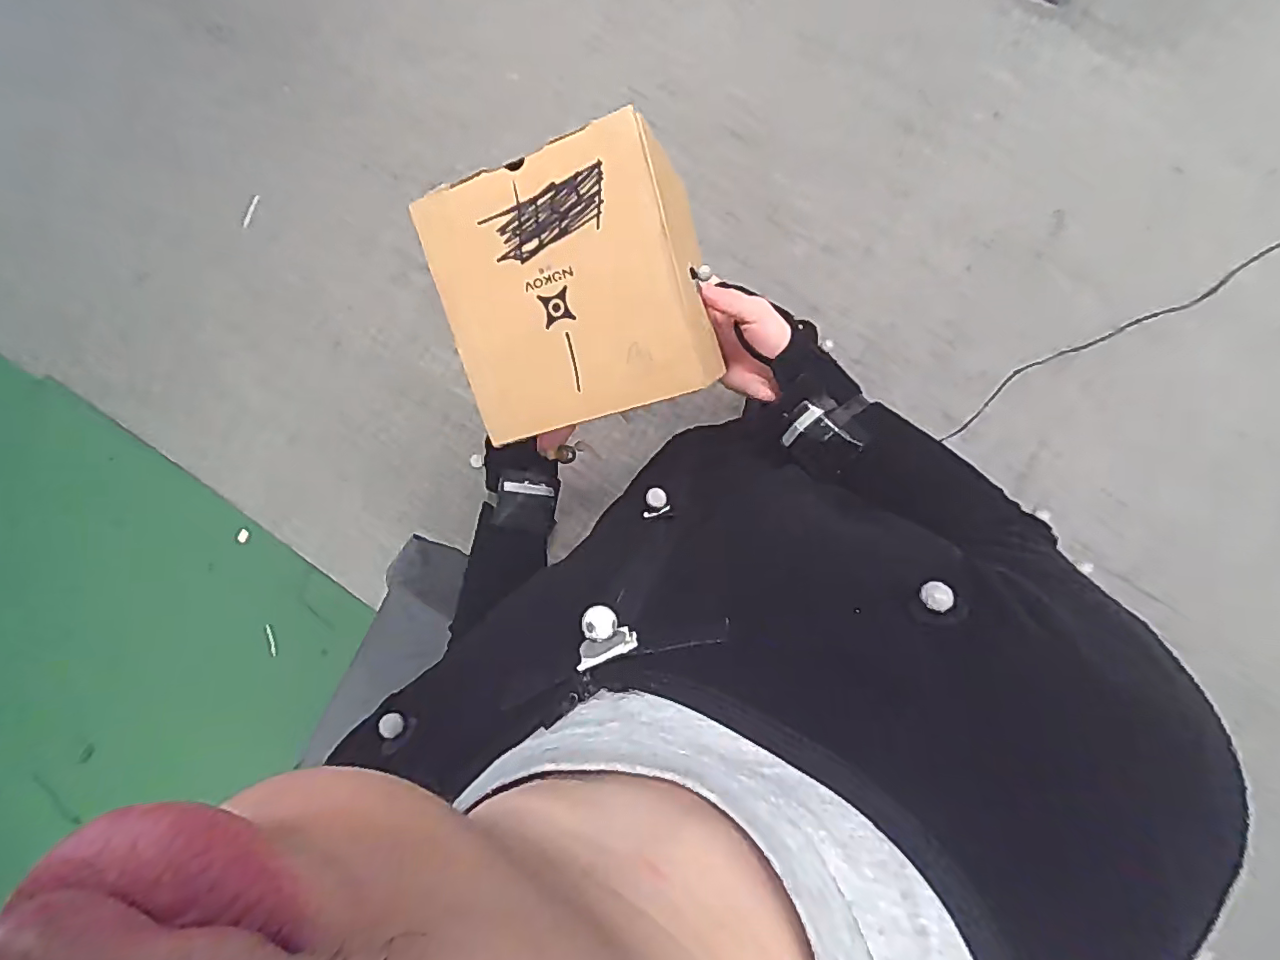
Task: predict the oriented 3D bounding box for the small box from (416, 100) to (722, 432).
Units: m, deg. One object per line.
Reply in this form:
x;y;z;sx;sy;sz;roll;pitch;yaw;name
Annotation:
-0.037;-0.151;0.436;0.168;0.176;0.179;-12;102;17;small box
